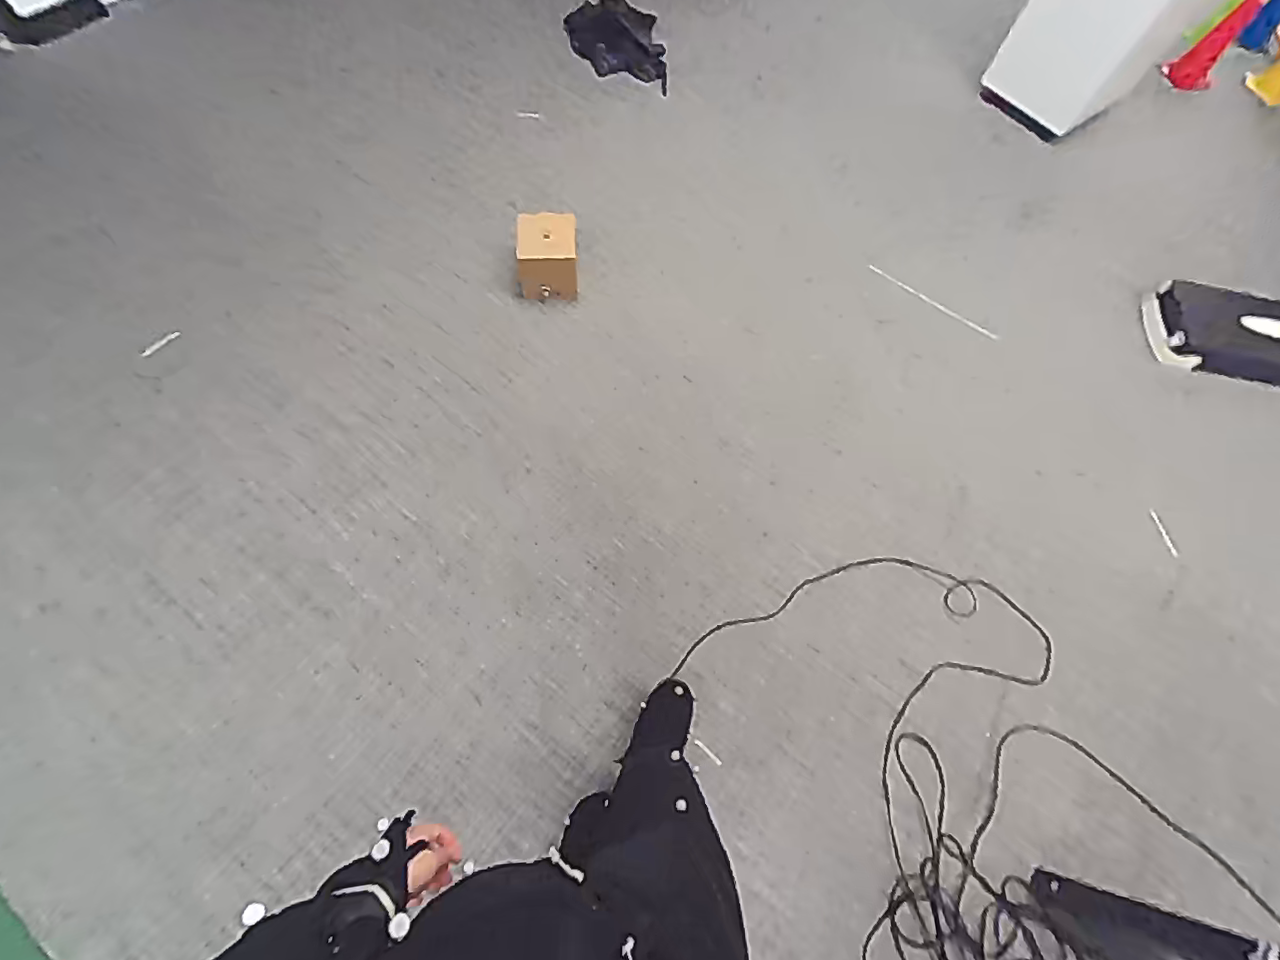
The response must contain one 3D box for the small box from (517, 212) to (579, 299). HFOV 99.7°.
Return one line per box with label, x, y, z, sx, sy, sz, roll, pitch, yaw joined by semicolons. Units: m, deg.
small box;-0.268;-0.661;1.596;0.168;0.176;0.179;-3;67;-5
